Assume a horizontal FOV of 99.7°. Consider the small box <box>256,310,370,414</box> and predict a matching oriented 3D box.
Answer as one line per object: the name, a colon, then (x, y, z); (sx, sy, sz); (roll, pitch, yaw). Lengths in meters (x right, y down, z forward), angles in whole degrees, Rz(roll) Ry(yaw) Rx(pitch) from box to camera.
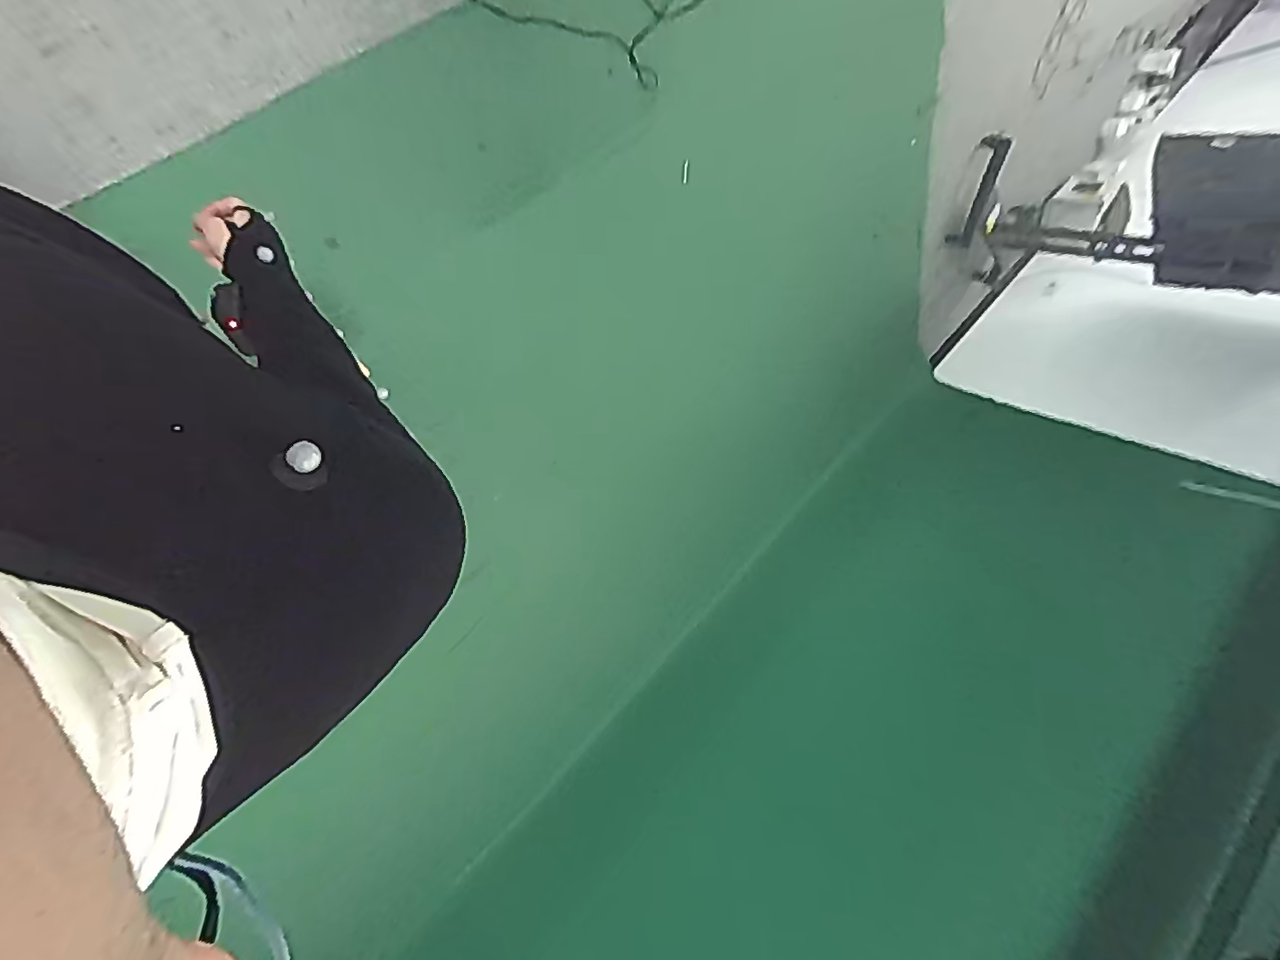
small box: (-0.831, -0.301, 1.366); (0.179, 0.176, 0.168); (-44, 138, -16)
